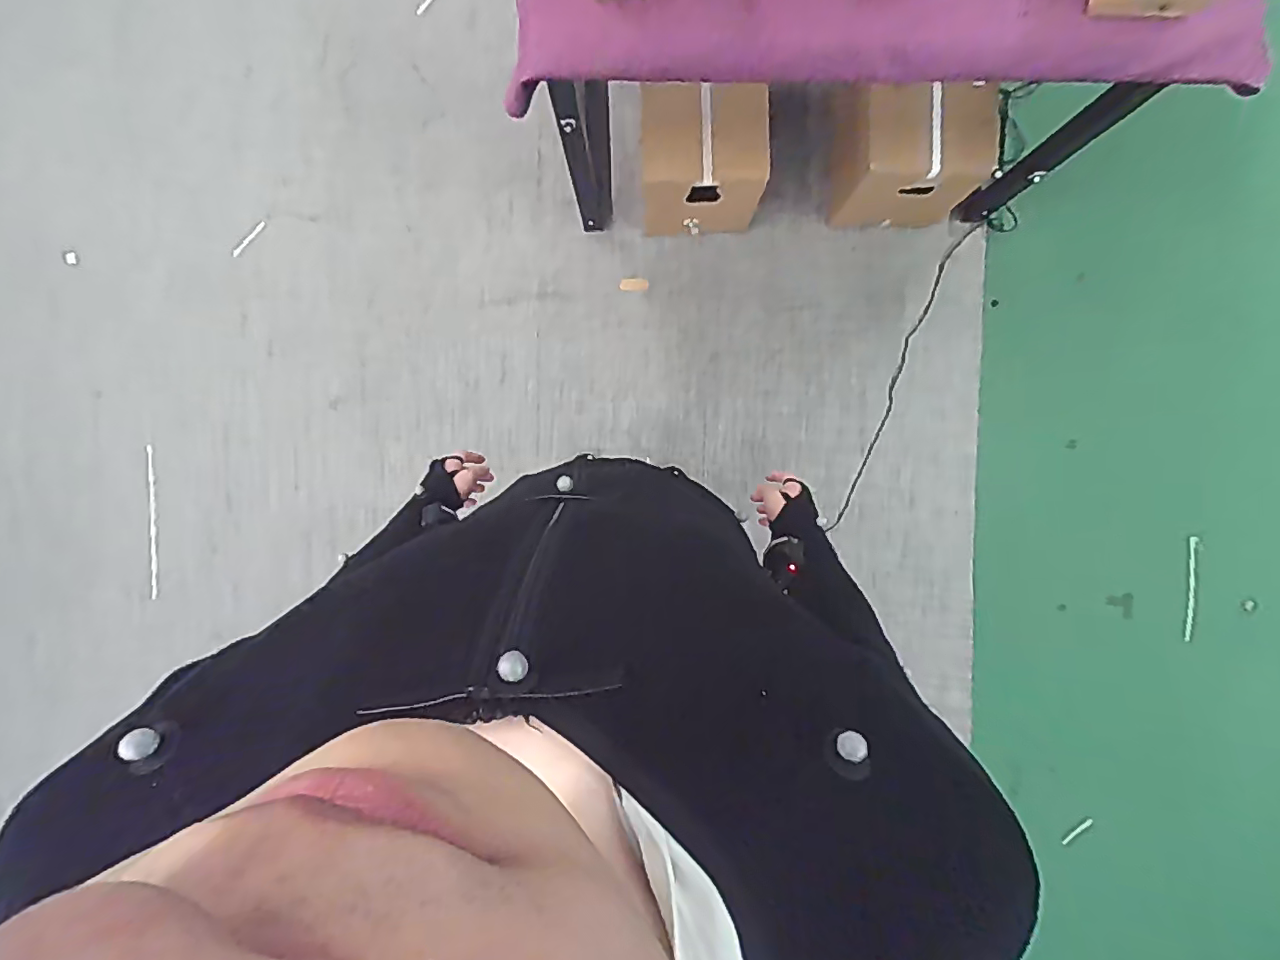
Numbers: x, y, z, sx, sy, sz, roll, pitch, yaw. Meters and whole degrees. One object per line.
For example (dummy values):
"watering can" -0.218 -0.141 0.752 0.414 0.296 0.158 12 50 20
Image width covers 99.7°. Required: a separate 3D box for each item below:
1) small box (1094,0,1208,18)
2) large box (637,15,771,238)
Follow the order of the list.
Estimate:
"small box" 0.811 -0.836 0.793 0.168 0.176 0.179 2 89 2
"large box" 0.159 -0.924 1.463 0.320 0.320 0.408 -2 90 0
